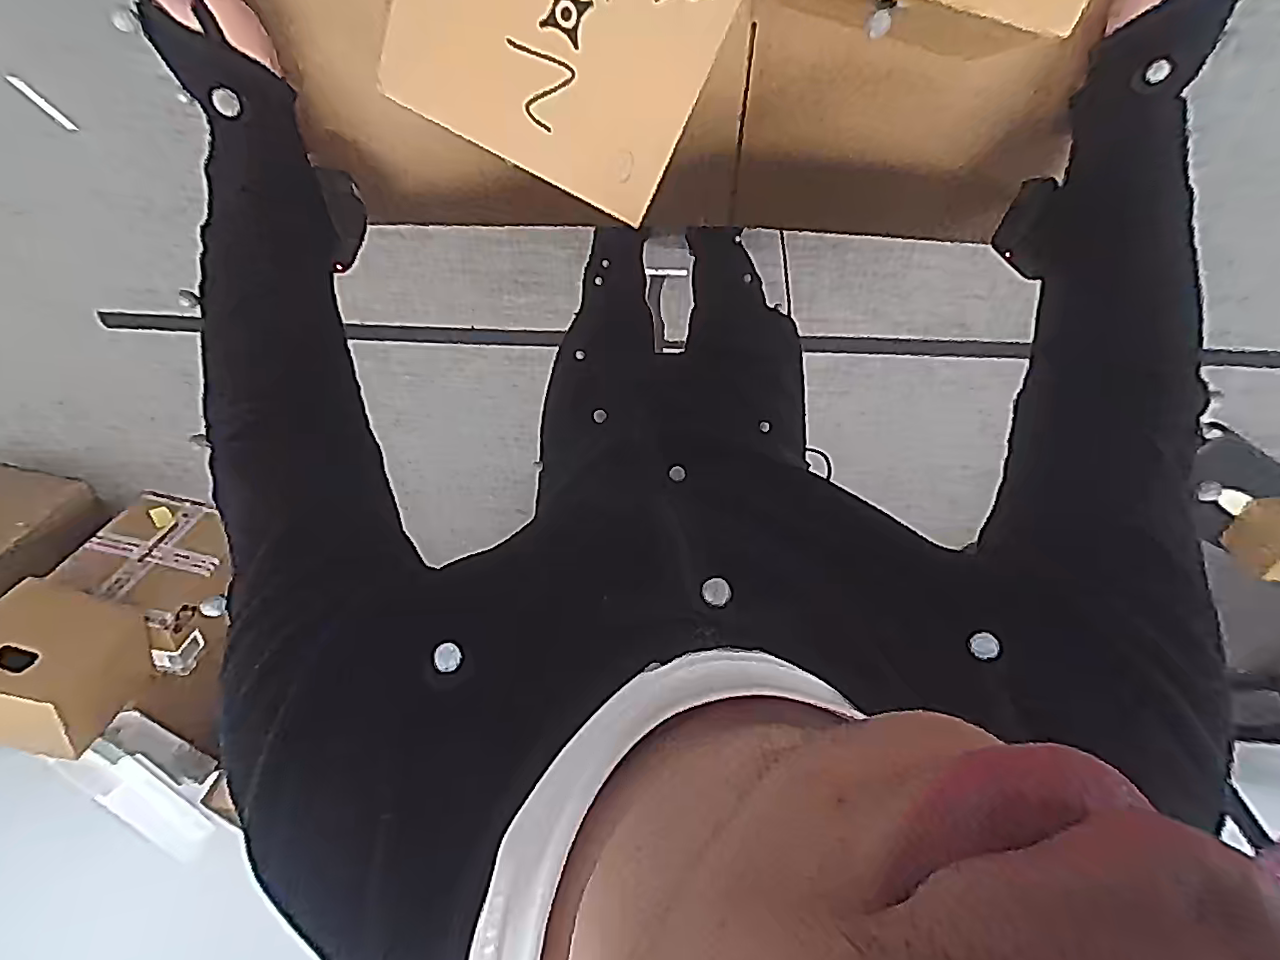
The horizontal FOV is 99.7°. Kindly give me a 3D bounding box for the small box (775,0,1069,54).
[{"bbox_3d":[0.187,-0.385,0.330,0.179,0.176,0.168,18,126,1],"label":"small box"}]
